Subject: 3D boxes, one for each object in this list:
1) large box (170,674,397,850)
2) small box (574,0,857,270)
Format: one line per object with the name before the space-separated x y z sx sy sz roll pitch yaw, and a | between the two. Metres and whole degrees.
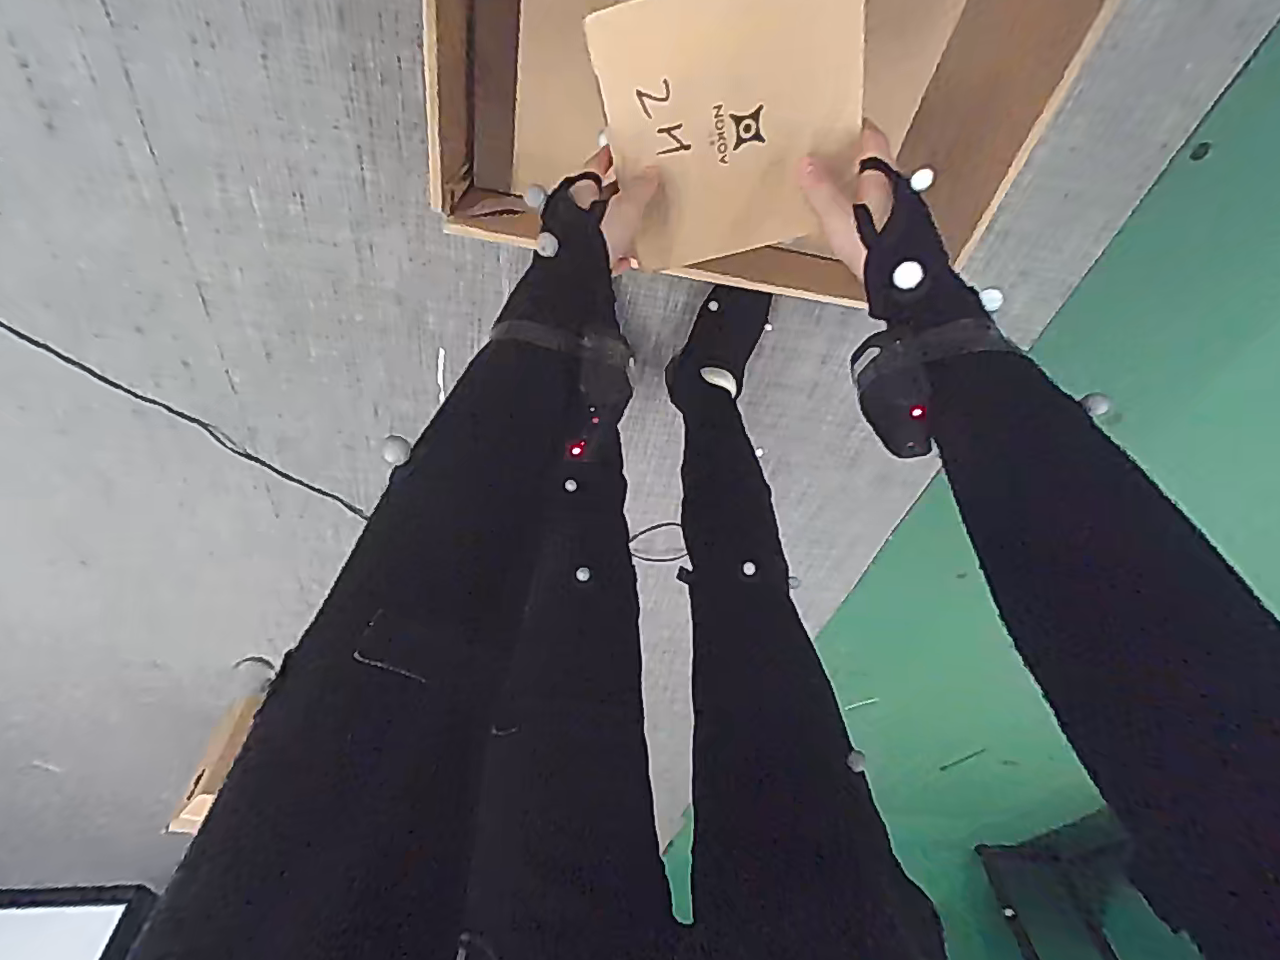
large box | -0.983 0.806 1.534 0.408 0.320 0.320 33 121 -27
small box | 0.057 -0.294 0.433 0.179 0.176 0.168 -10 128 8
